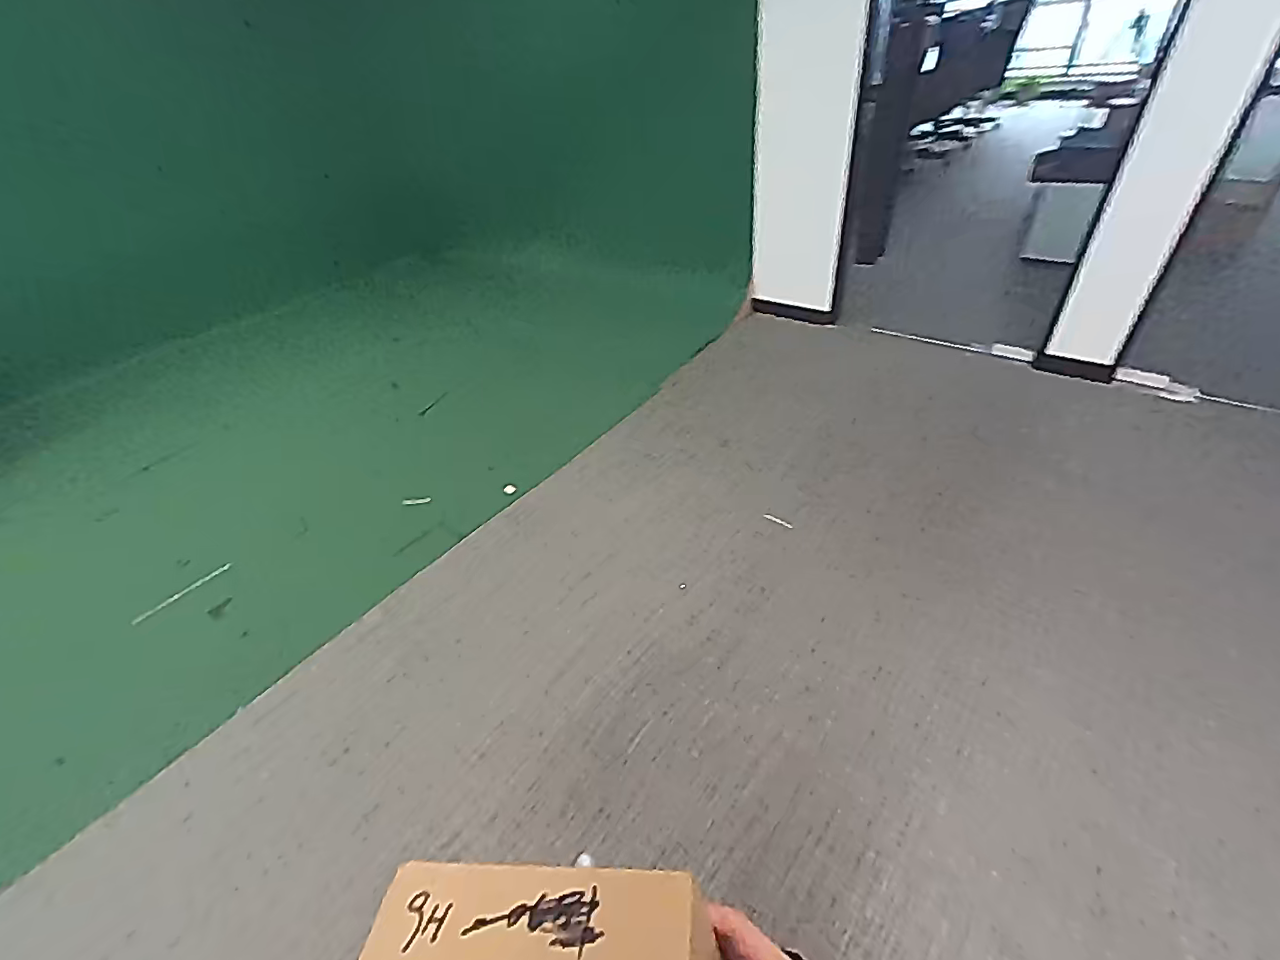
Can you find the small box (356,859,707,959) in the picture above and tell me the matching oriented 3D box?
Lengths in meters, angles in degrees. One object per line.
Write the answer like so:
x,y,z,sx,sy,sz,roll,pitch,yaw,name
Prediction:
-0.049,0.320,0.264,0.168,0.176,0.179,-6,35,12,small box
